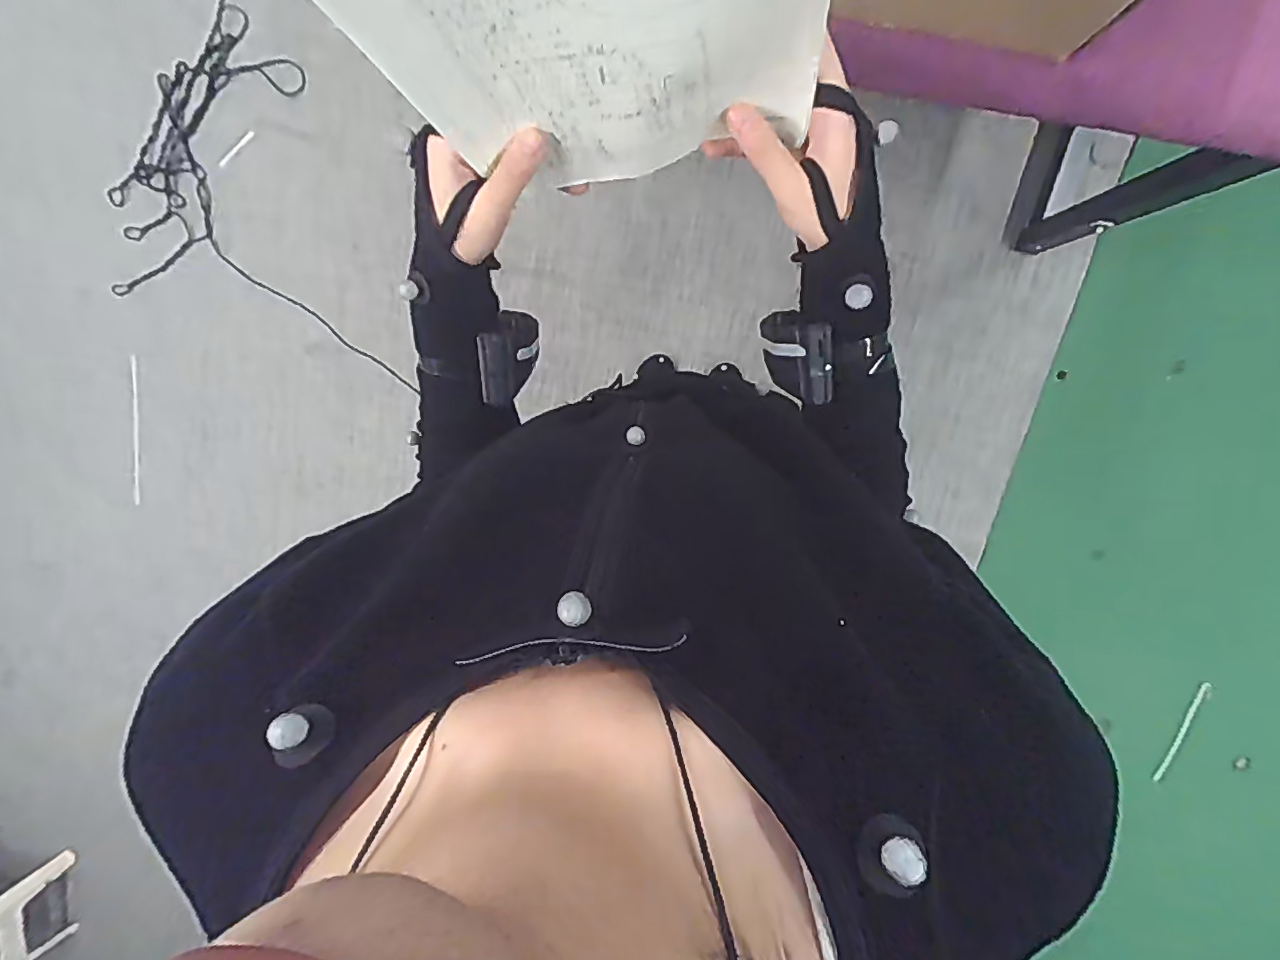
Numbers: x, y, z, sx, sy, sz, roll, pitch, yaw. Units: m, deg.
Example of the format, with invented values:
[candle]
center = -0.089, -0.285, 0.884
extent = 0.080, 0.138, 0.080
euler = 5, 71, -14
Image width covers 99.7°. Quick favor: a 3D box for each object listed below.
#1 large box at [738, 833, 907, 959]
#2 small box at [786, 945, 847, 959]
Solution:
[large box]
center = 0.500, 1.278, 1.563
extent = 0.408, 0.320, 0.320
euler = -1, 102, 5
[small box]
center = 0.446, 1.296, 1.320
extent = 0.168, 0.176, 0.179
euler = 5, 101, 6
